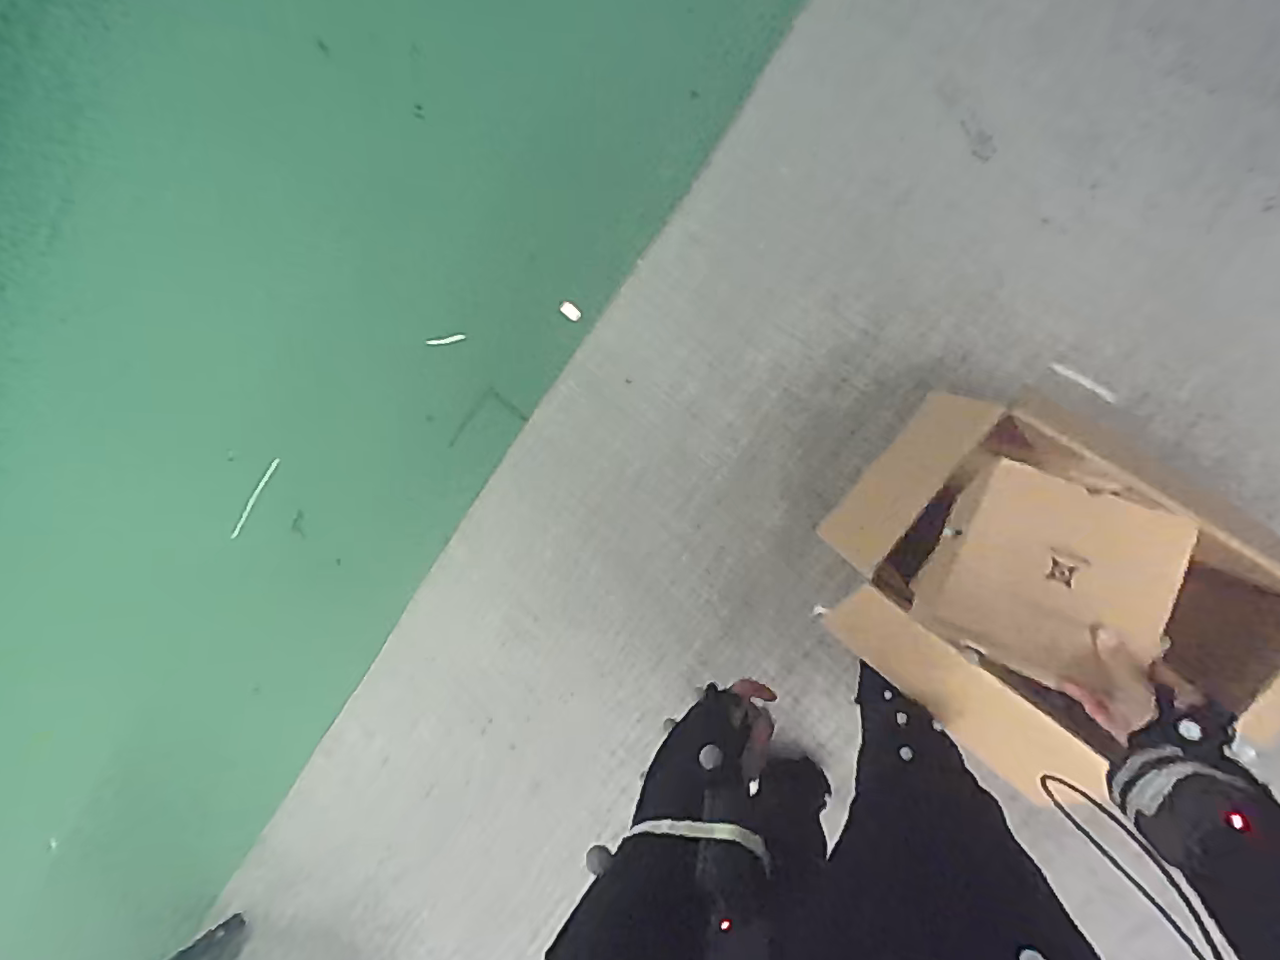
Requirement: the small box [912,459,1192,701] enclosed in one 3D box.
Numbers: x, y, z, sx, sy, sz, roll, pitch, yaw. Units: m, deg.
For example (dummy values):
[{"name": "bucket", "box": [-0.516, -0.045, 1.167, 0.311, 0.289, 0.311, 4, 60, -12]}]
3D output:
[{"name": "small box", "box": [0.412, 0.106, 0.576, 0.168, 0.176, 0.179, 24, 82, 23]}]
